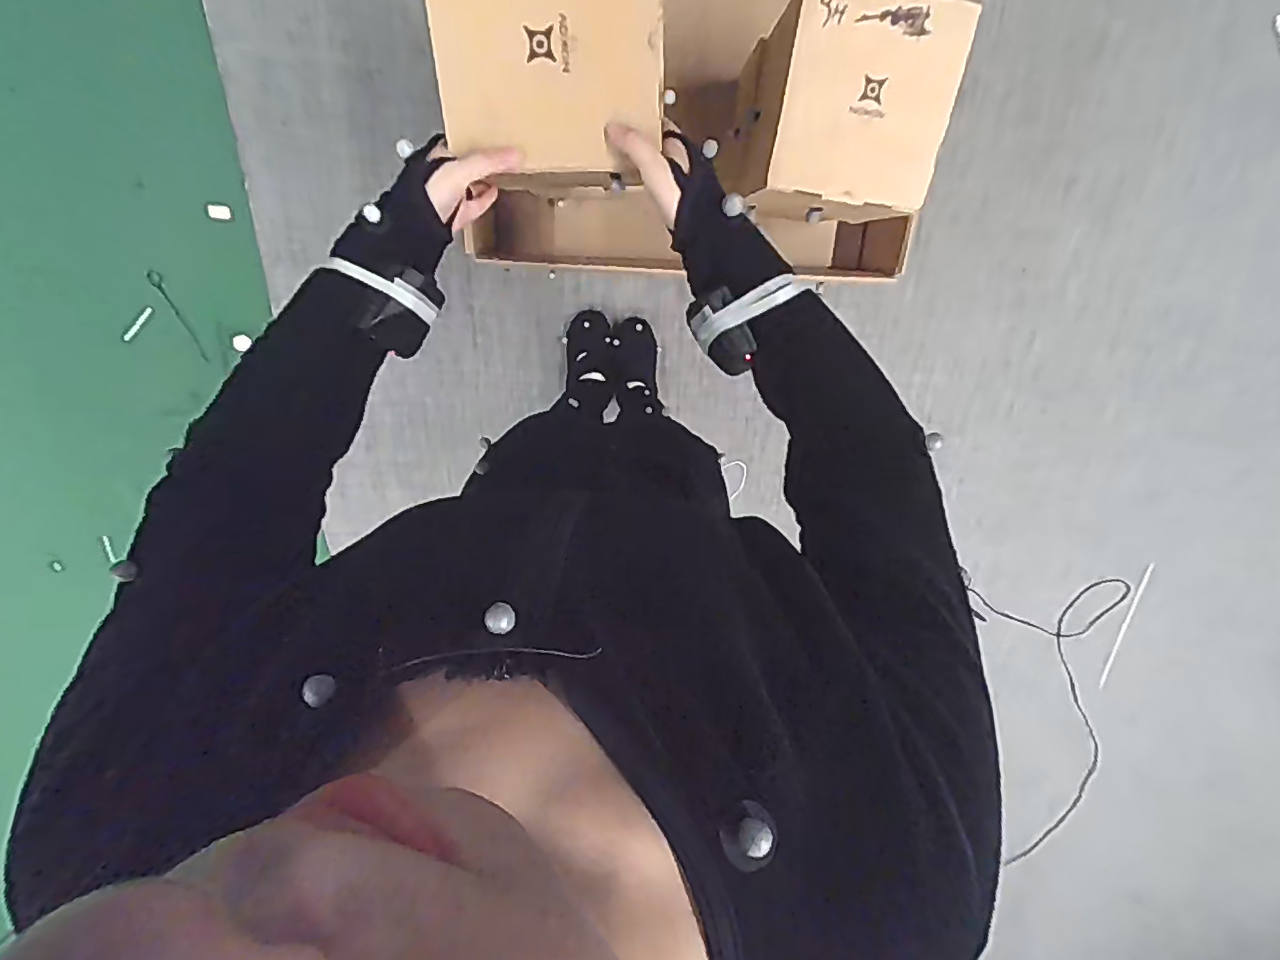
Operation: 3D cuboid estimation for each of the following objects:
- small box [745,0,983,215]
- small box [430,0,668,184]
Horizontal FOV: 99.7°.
[{"bbox_3d":[0.220,-0.398,0.591,0.168,0.176,0.179,8,114,-3],"label":"small box"},{"bbox_3d":[-0.065,-0.362,0.478,0.179,0.176,0.168,0,115,2],"label":"small box"}]
